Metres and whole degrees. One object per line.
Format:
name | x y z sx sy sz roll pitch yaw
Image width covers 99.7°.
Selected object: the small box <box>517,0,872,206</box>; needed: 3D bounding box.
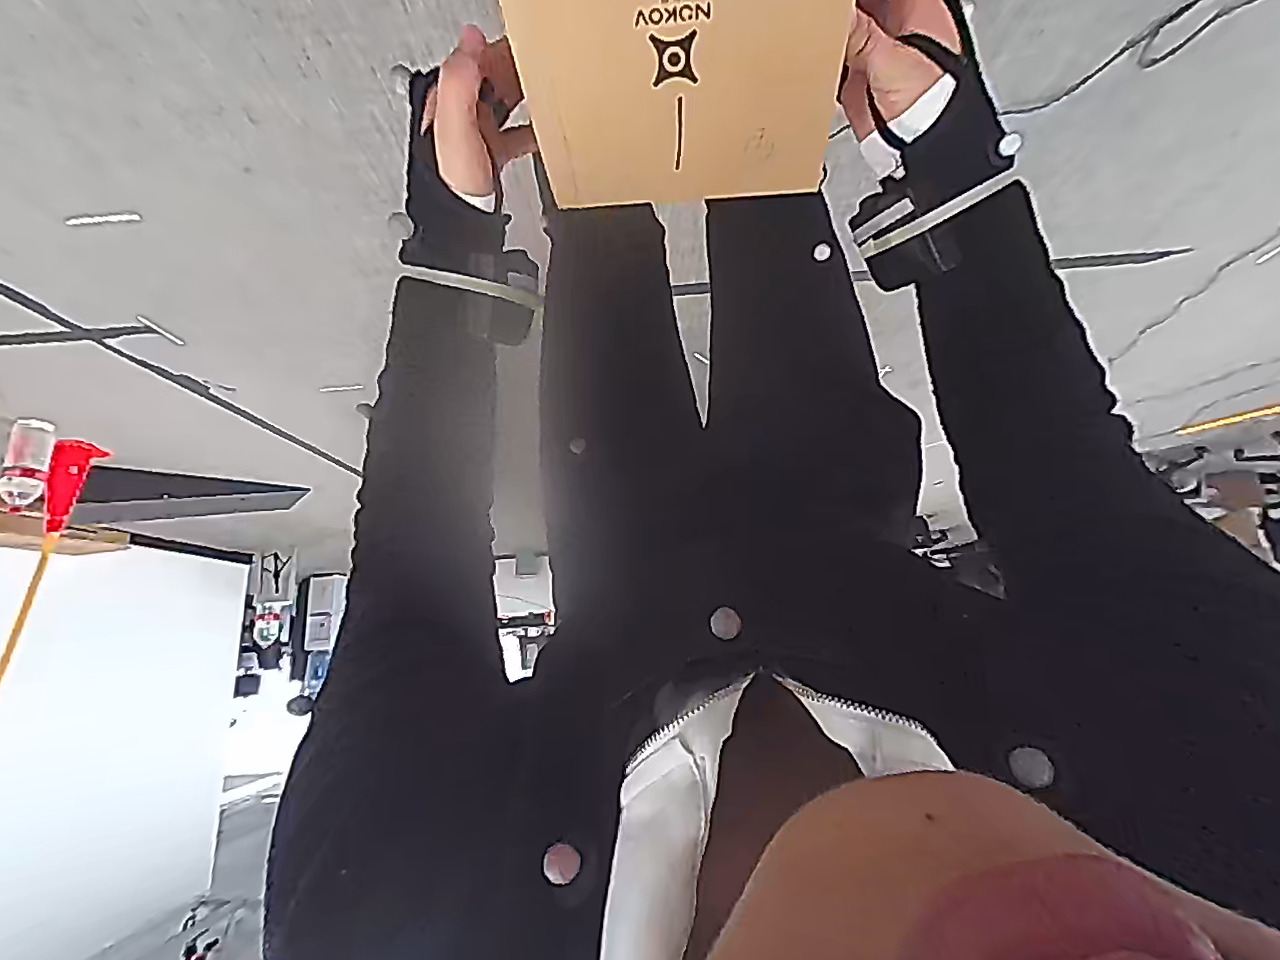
small box | 0.028 -0.285 0.295 0.168 0.176 0.179 0 152 7
